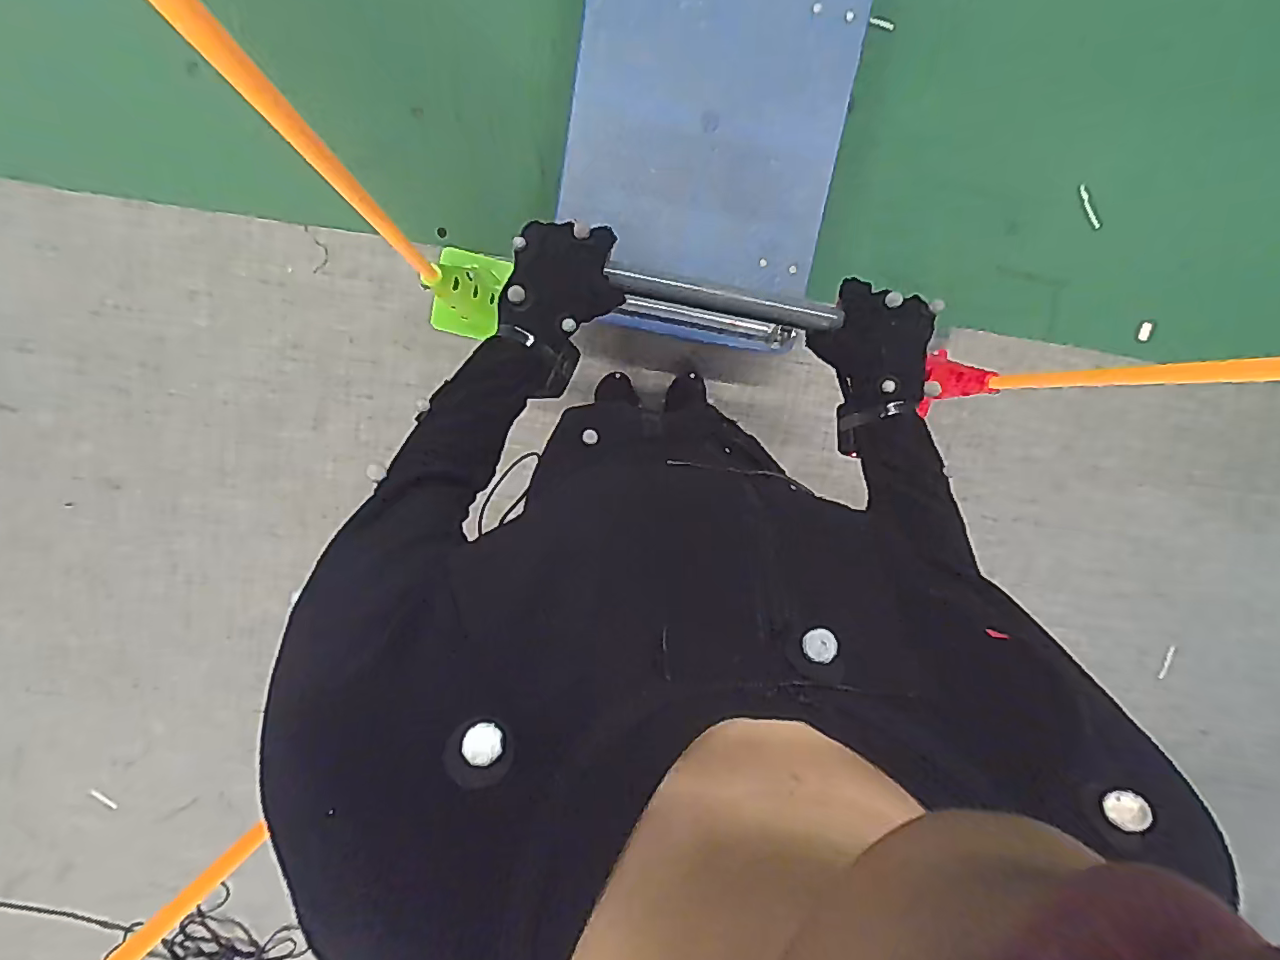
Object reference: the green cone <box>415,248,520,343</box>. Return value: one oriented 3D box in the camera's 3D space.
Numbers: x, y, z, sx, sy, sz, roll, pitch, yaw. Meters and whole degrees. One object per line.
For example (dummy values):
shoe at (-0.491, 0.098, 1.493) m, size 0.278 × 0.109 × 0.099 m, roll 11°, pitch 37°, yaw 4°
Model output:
green cone at (-0.404, -0.427, 1.184) m, size 0.202 × 0.368 × 0.200 m, roll 12°, pitch 100°, yaw -5°
